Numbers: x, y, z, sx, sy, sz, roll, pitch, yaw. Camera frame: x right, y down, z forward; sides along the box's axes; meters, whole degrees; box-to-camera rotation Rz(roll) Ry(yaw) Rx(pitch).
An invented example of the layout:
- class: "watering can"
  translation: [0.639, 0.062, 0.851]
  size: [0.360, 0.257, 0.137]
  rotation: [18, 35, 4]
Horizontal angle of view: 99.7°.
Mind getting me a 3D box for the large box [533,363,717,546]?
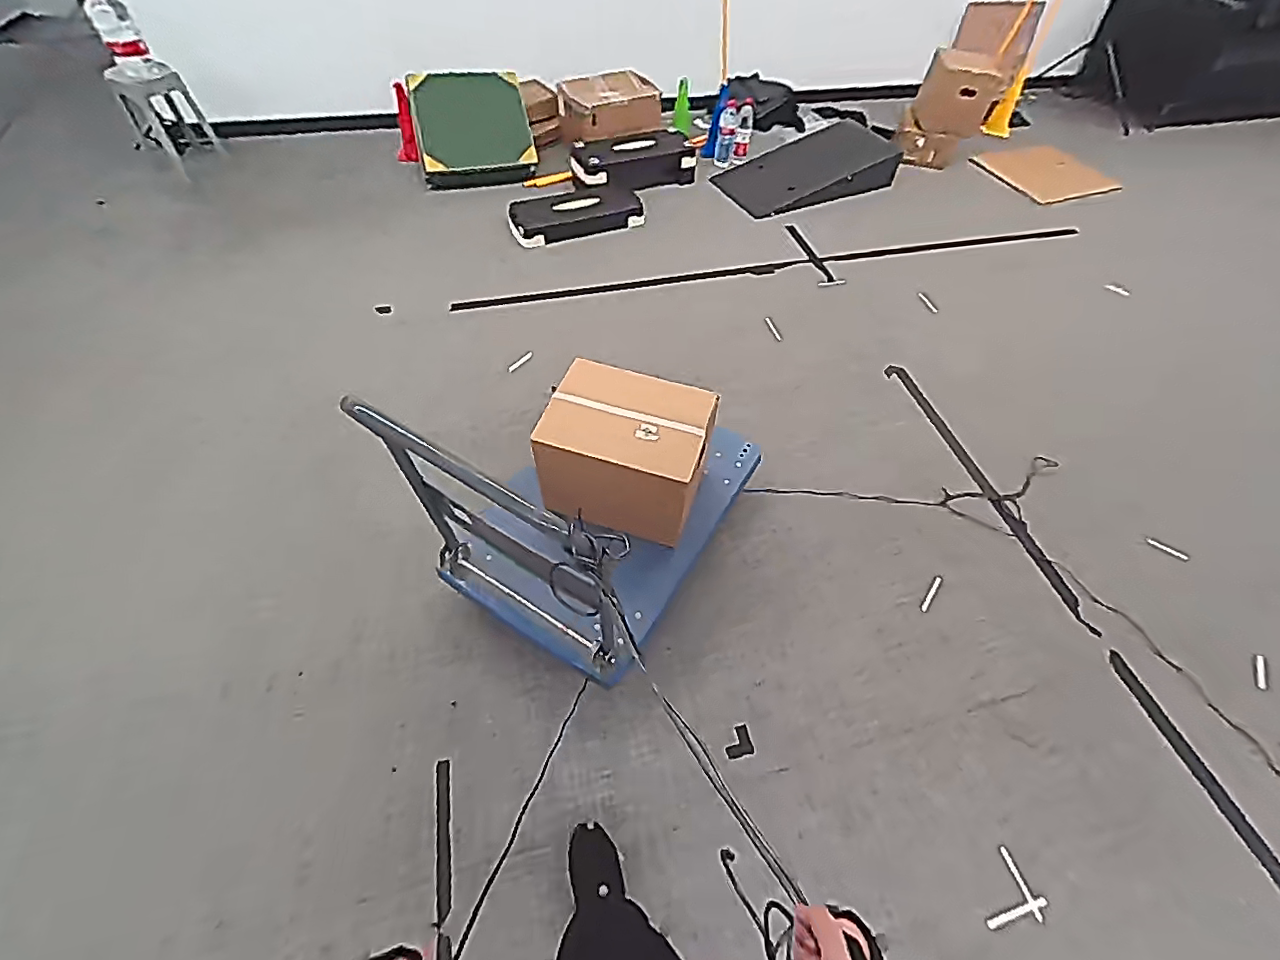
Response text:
- class: "large box"
  translation: [-0.038, -0.066, 1.481]
  size: [0.408, 0.320, 0.320]
  rotation: [16, 55, 8]
